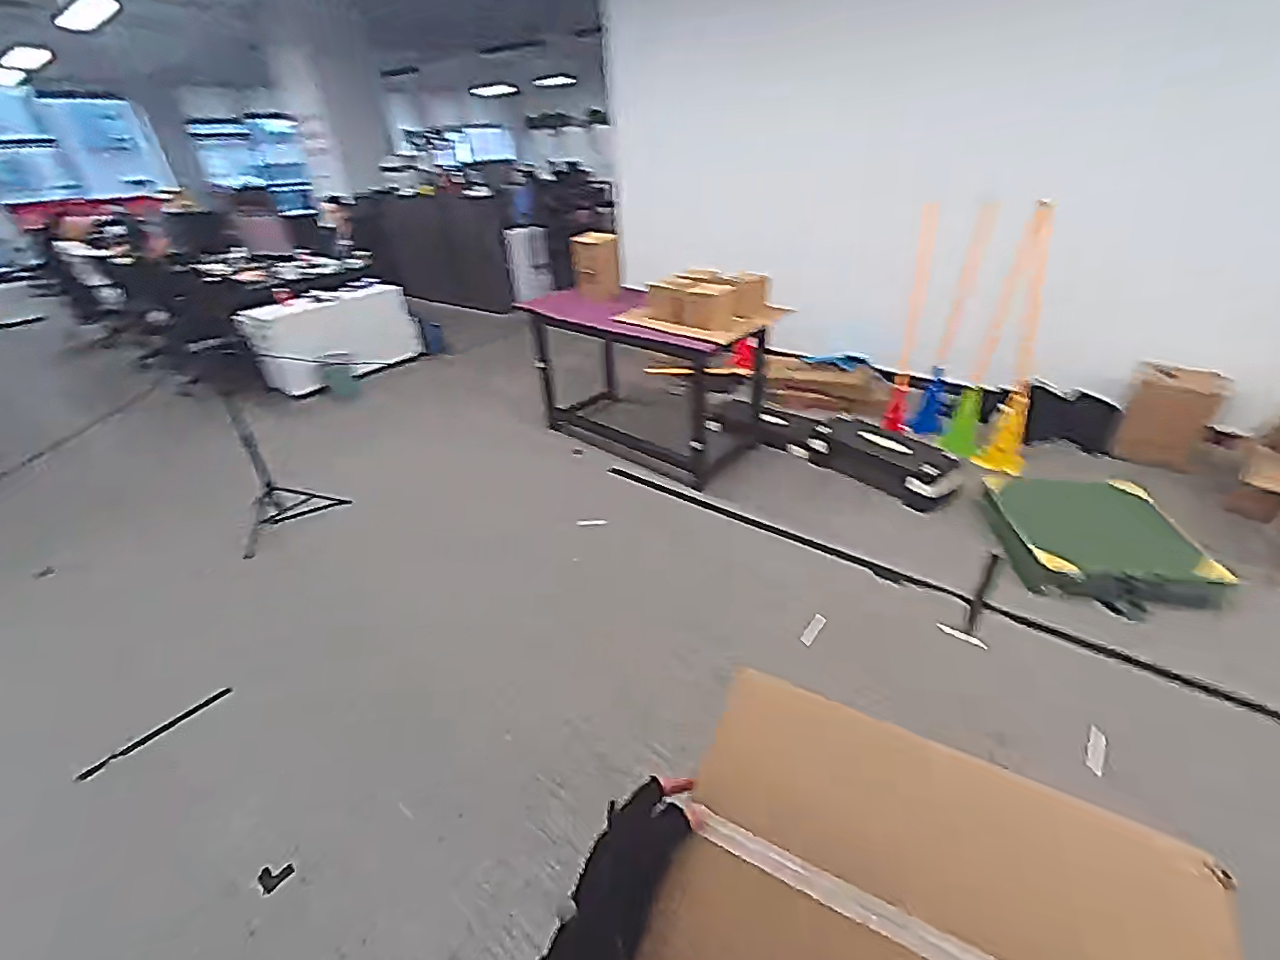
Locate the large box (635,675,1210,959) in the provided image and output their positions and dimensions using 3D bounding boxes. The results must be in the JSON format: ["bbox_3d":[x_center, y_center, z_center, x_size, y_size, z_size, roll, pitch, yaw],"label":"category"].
[{"bbox_3d":[0.238,0.469,0.548,0.408,0.320,0.320,16,51,23],"label":"large box"}]
